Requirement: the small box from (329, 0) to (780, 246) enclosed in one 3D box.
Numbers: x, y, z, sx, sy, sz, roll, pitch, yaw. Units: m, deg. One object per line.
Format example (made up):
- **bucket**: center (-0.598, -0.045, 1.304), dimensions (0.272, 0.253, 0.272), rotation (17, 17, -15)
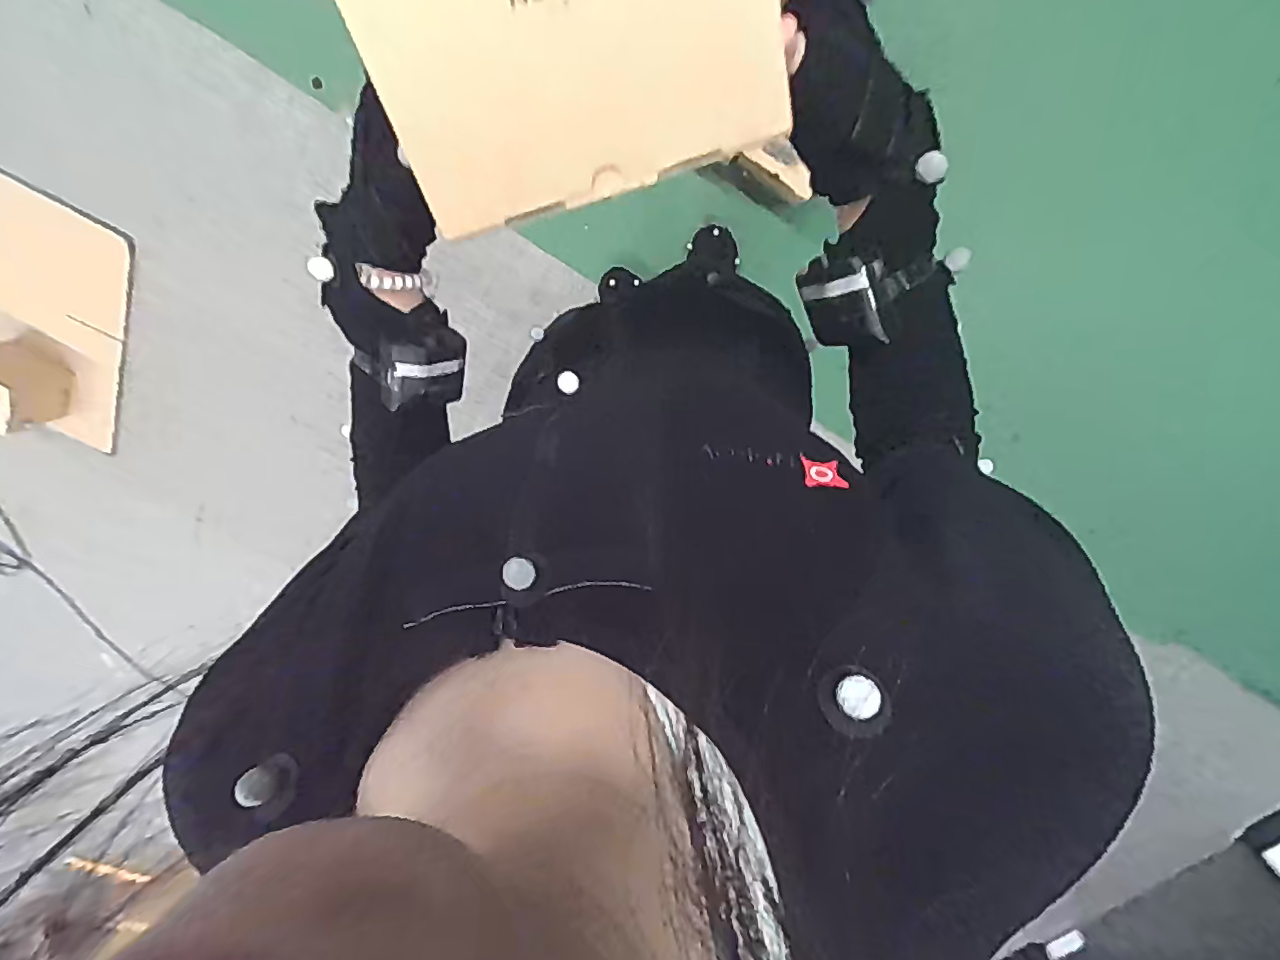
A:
- **small box**: center (-0.041, -0.245, 0.267), dimensions (0.168, 0.176, 0.179), rotation (-14, 125, 10)
